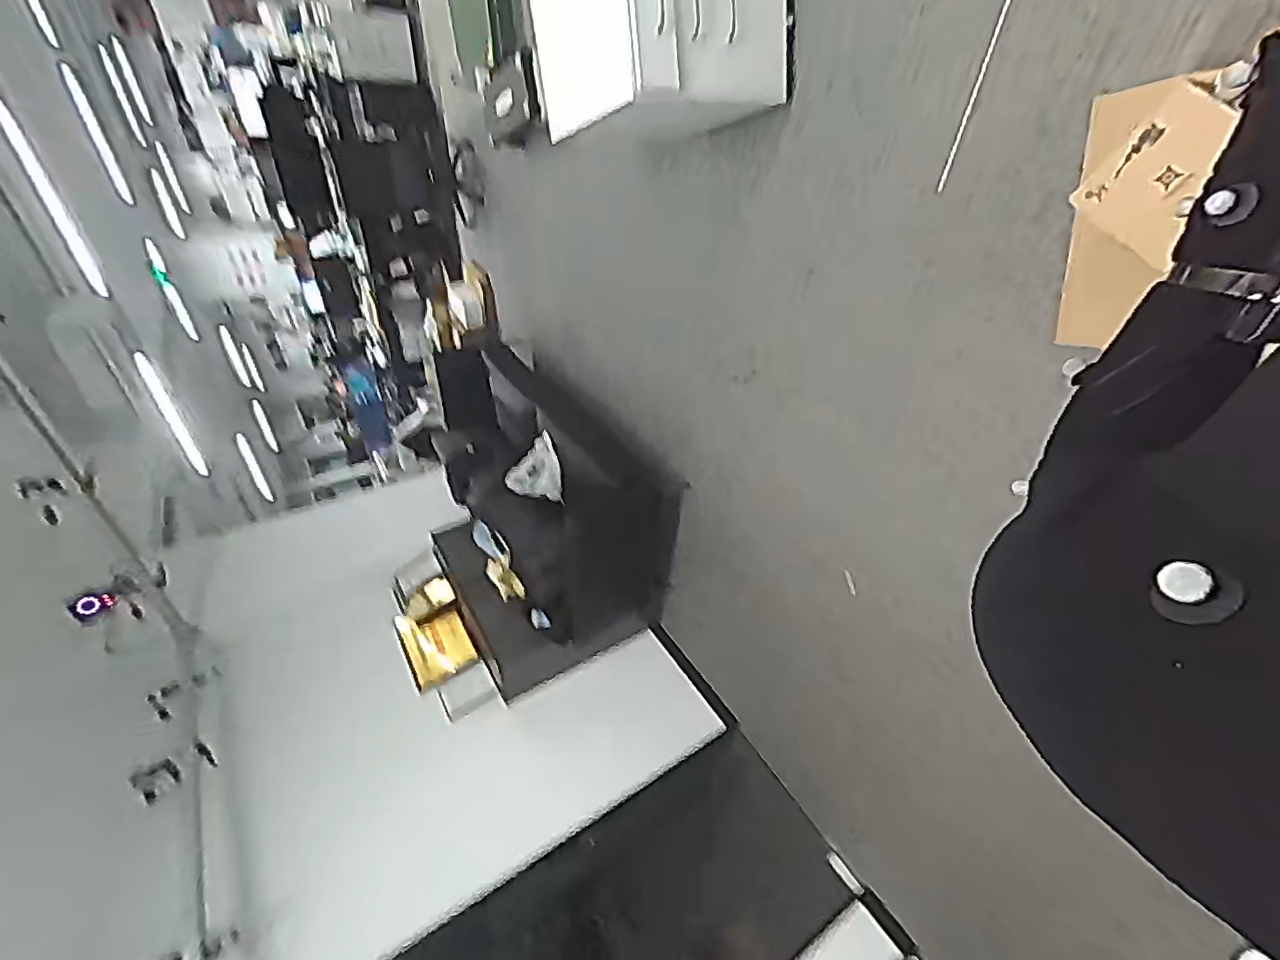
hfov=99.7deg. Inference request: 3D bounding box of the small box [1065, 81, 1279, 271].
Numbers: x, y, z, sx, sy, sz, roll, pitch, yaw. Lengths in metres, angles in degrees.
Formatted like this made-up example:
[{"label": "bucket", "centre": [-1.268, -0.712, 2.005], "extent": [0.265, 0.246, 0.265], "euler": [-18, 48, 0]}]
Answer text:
[{"label": "small box", "centre": [0.774, -0.430, 0.763], "extent": [0.179, 0.176, 0.168], "euler": [56, 149, 20]}]
